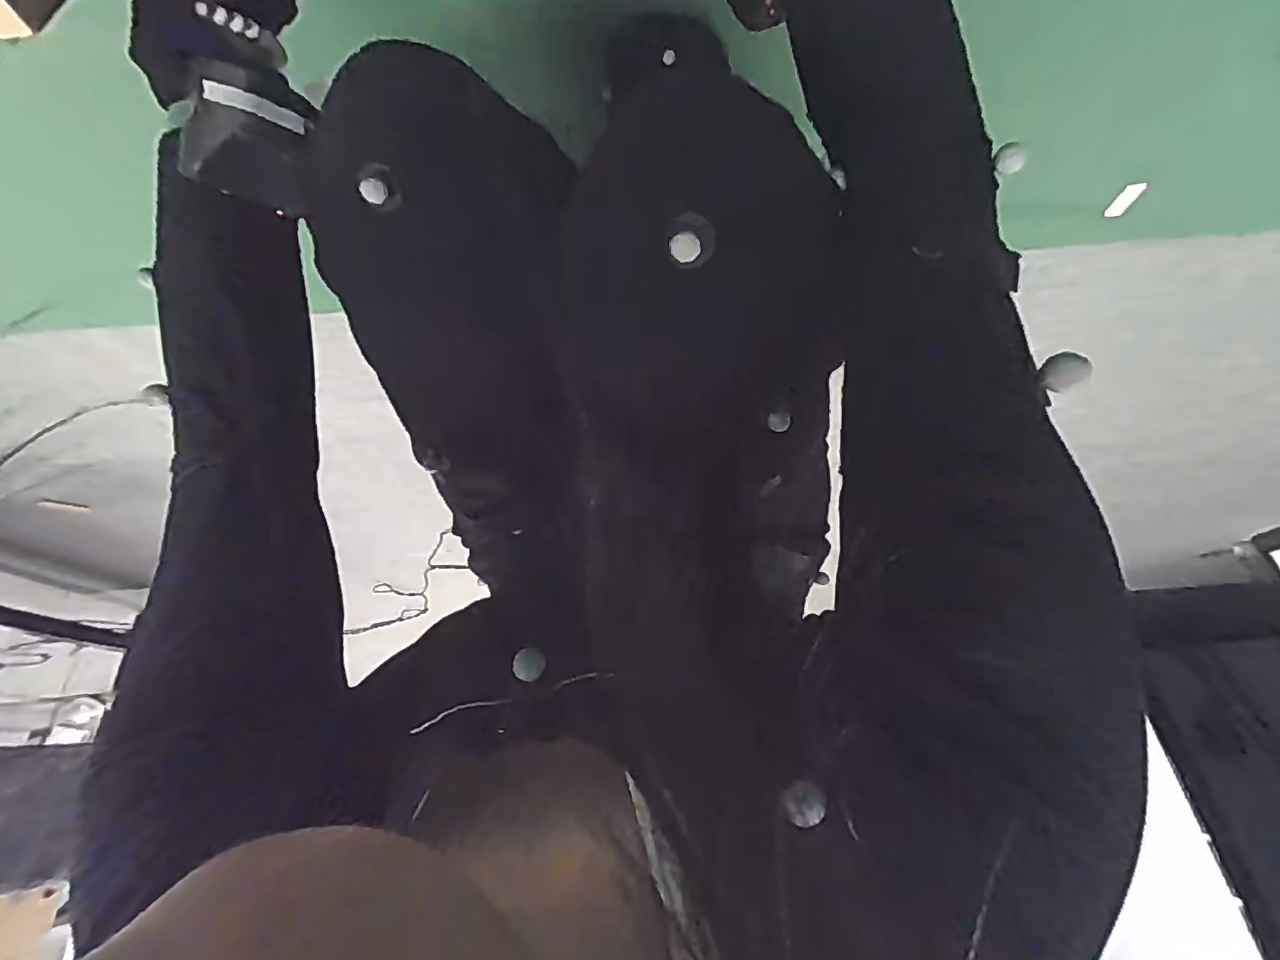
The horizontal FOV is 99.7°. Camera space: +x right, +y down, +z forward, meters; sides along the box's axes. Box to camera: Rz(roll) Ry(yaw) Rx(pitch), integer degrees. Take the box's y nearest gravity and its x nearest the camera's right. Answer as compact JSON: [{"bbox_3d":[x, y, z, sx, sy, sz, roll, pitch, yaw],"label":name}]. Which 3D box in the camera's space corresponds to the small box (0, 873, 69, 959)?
[{"bbox_3d":[-1.355,0.930,1.117,0.179,0.176,0.168,-5,153,0],"label":"small box"}]
